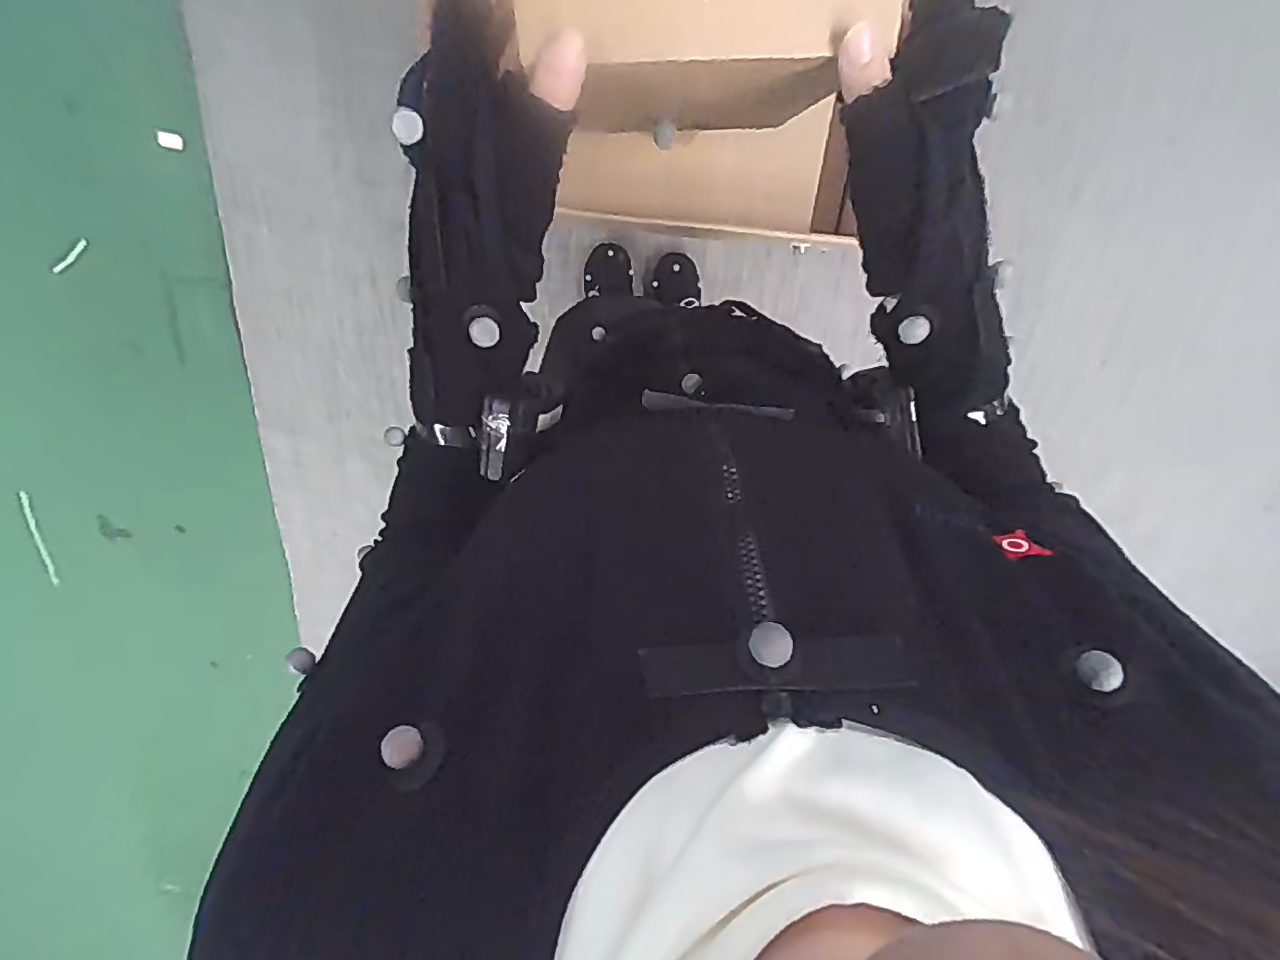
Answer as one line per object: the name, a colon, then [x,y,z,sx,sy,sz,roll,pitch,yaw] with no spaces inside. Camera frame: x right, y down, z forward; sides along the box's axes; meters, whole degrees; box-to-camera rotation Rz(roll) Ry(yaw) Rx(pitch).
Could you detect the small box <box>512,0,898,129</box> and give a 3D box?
small box: [0.020,-0.296,0.270,0.168,0.176,0.179,-4,114,-2]
